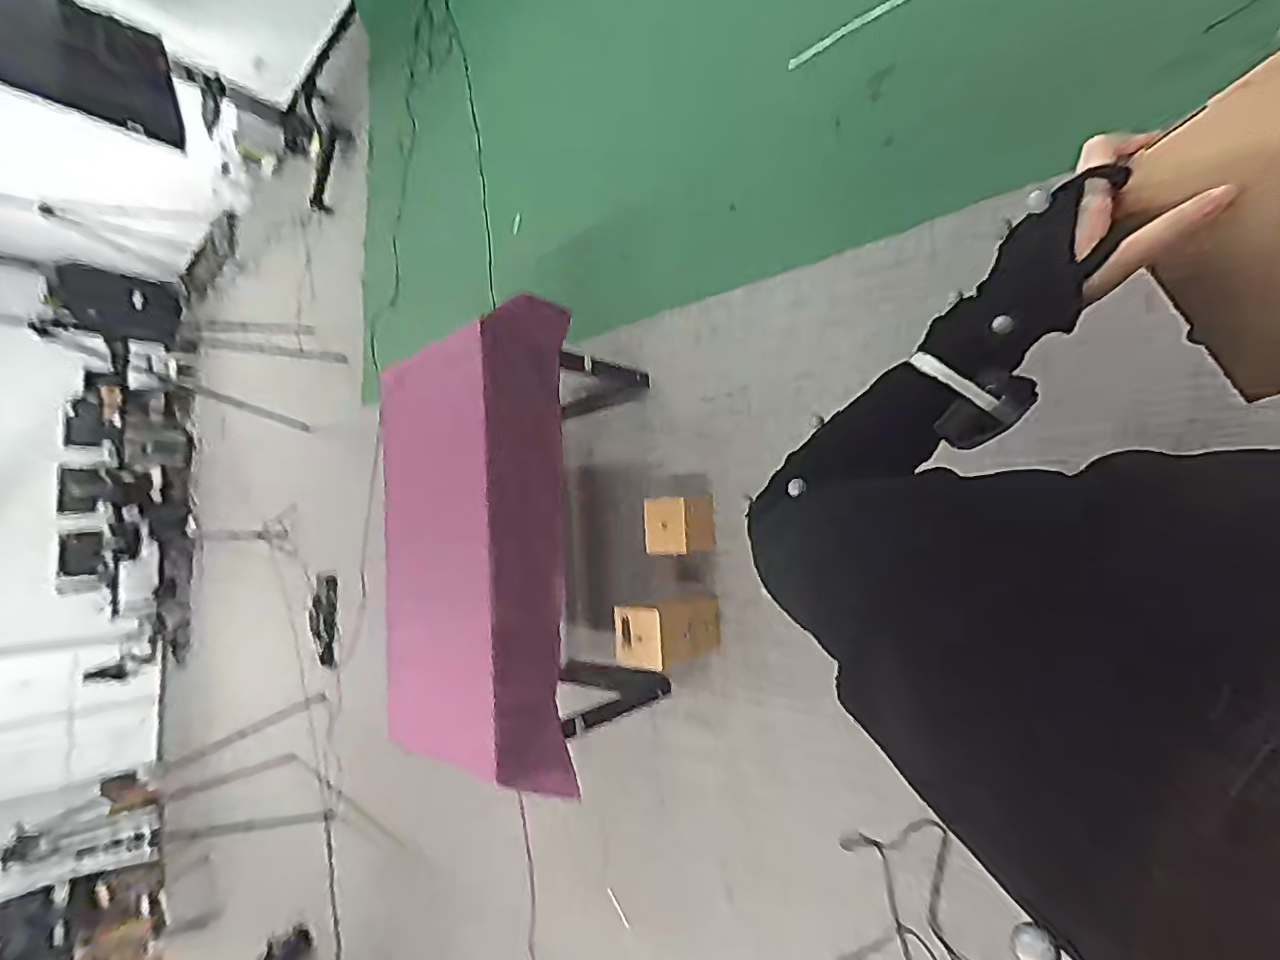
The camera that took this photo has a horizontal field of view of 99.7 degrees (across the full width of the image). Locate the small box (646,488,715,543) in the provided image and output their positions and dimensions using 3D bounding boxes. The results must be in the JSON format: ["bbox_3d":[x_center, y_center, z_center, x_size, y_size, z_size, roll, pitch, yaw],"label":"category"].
[{"bbox_3d":[0.139,0.119,1.820,0.168,0.176,0.179,-6,84,40],"label":"small box"}]
